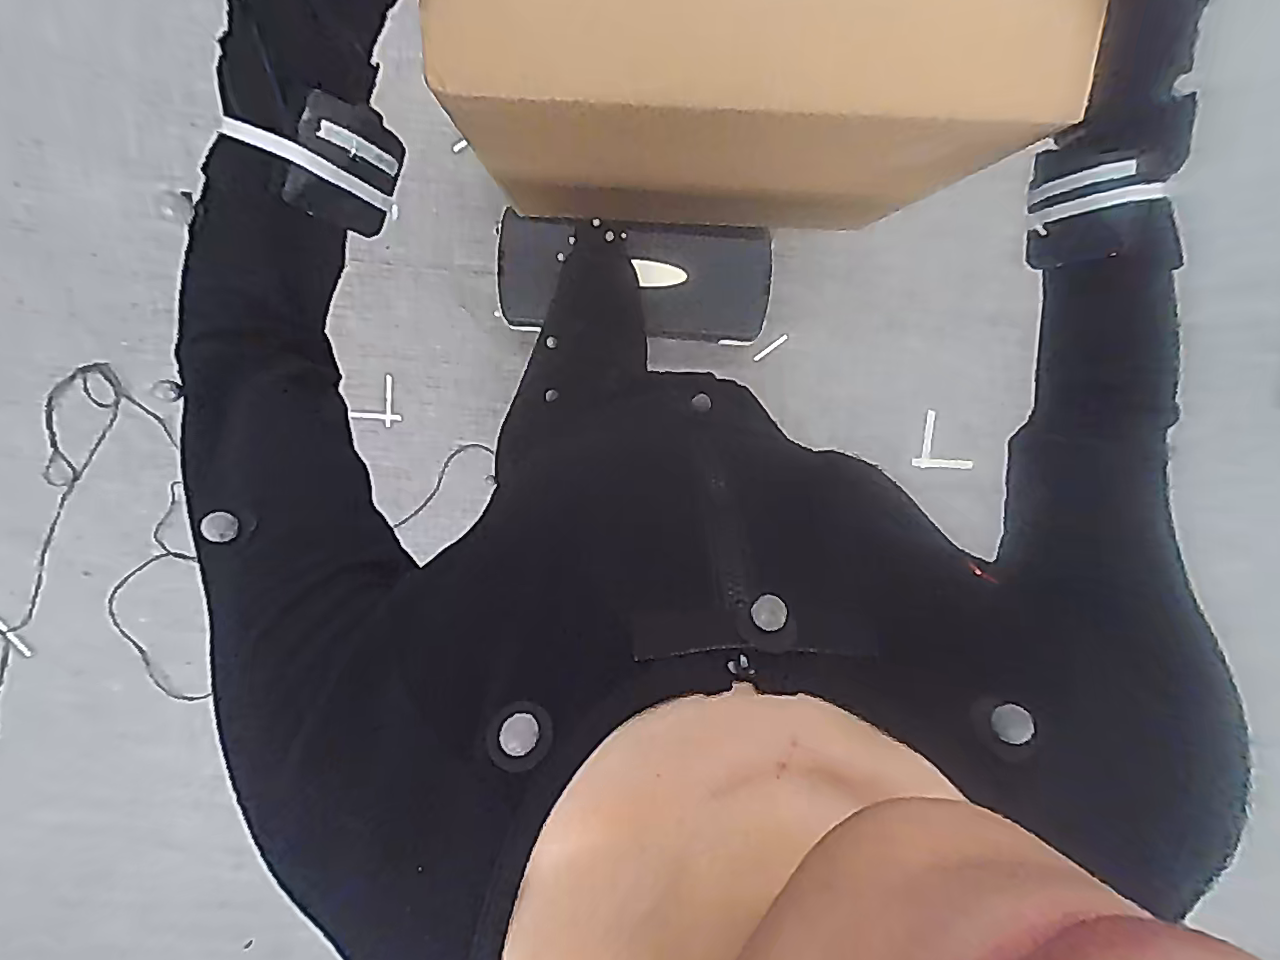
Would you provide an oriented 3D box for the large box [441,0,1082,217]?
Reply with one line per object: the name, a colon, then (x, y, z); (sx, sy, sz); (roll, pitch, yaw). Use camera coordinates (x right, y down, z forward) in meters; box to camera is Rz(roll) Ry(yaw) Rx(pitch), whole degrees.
large box: (0.069, -0.423, 0.452); (0.408, 0.320, 0.320); (0, 104, -4)
